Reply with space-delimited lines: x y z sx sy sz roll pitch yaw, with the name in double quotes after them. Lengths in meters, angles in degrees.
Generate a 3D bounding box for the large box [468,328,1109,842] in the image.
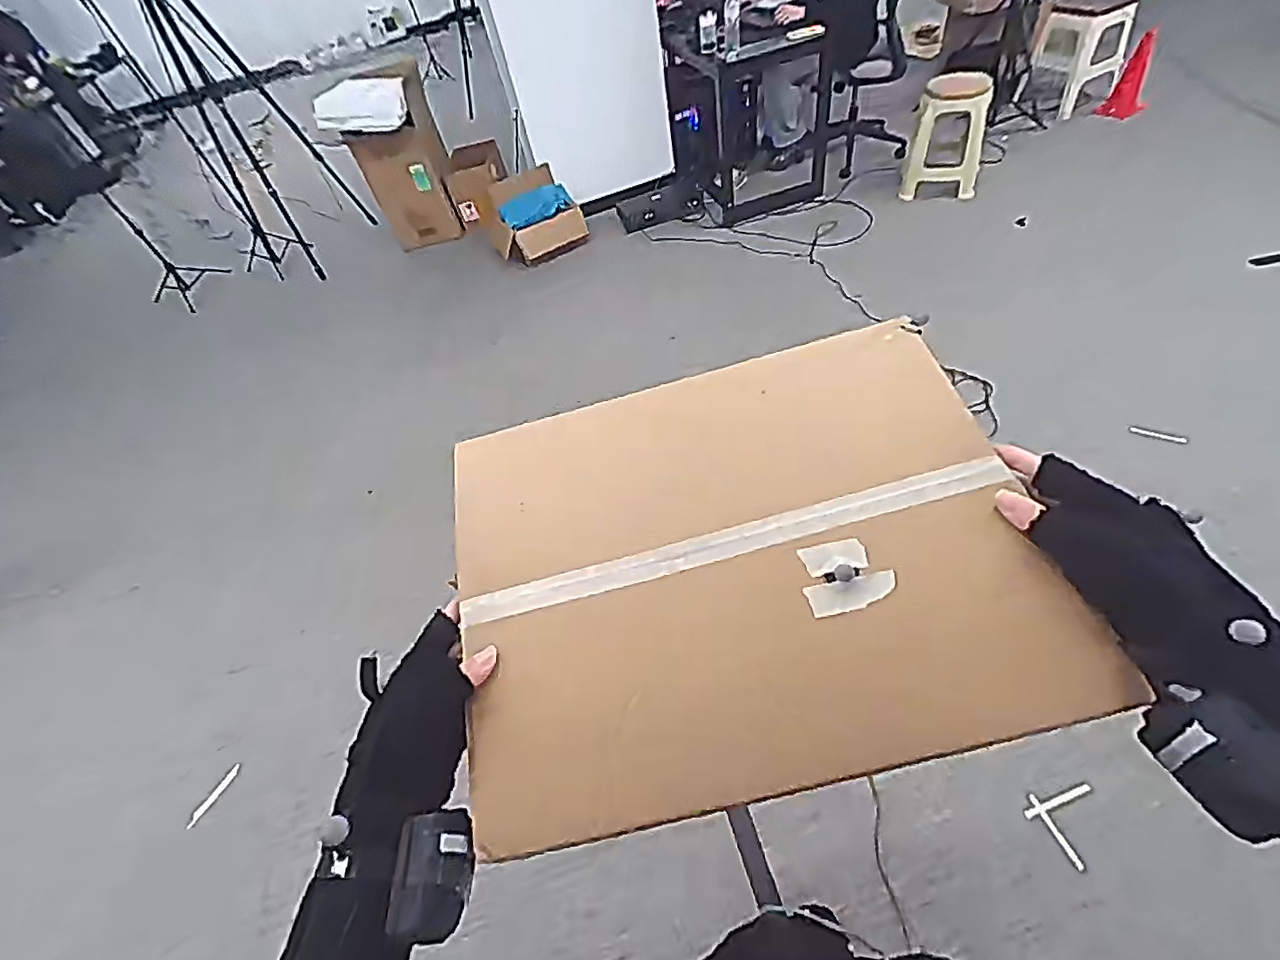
0.090 0.118 0.538 0.408 0.320 0.320 -16 61 3 "large box"
